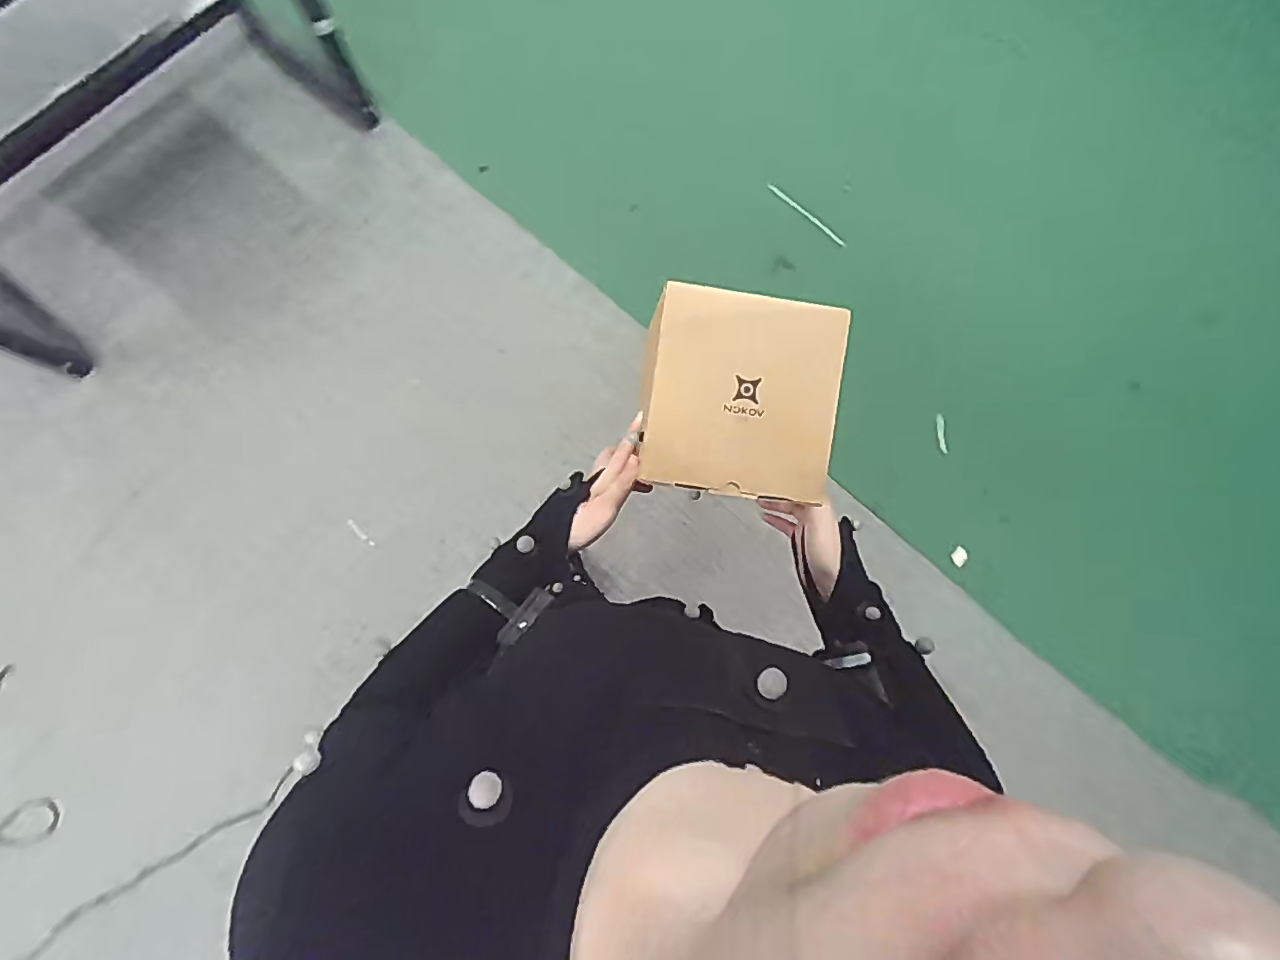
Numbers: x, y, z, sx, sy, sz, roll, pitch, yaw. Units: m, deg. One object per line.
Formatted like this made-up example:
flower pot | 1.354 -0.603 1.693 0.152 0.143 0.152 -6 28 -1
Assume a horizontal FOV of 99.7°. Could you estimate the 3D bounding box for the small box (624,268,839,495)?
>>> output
small box | 0.075 -0.085 0.538 0.168 0.176 0.179 6 92 -4
